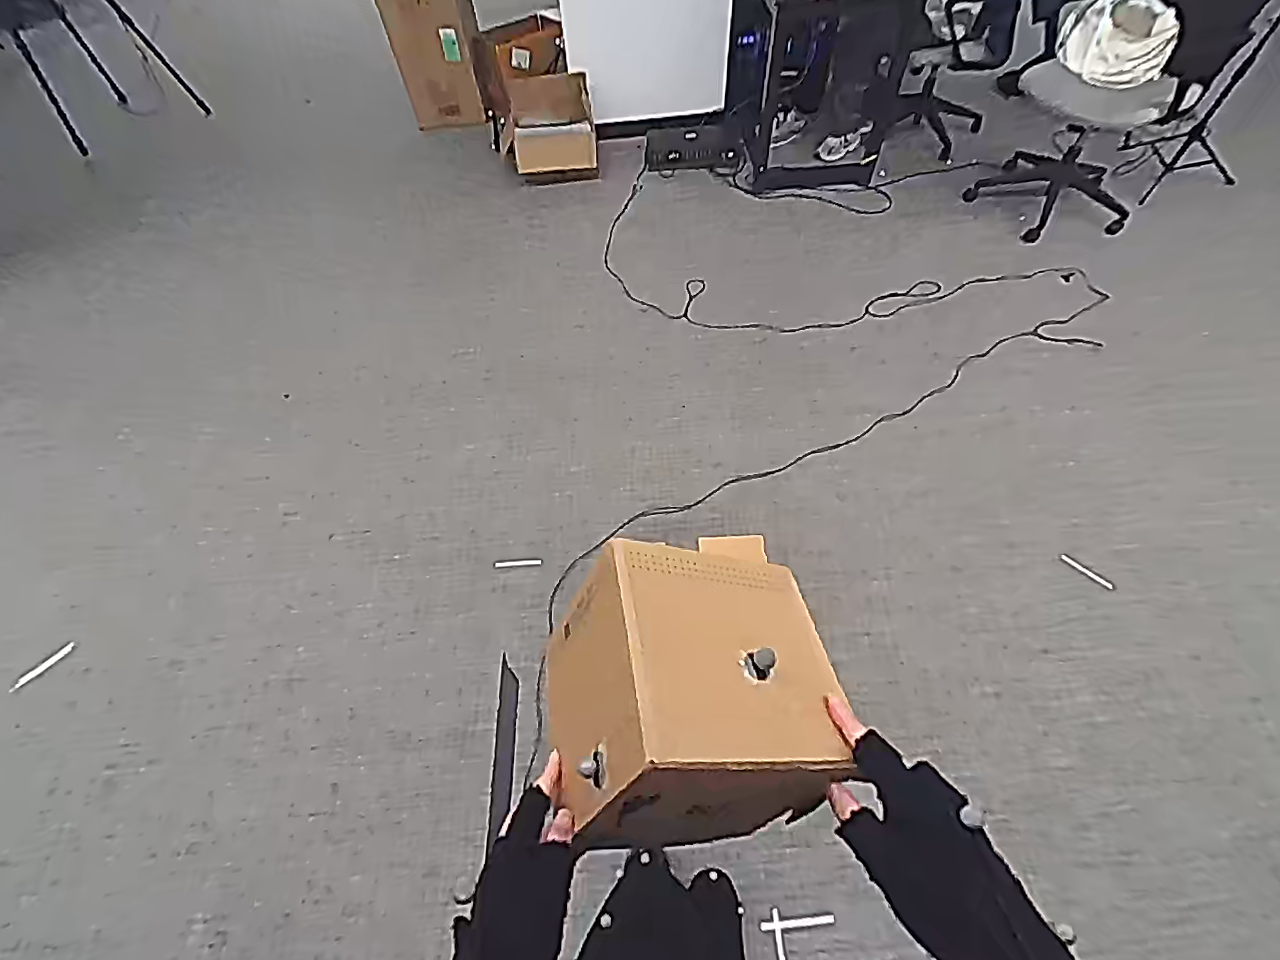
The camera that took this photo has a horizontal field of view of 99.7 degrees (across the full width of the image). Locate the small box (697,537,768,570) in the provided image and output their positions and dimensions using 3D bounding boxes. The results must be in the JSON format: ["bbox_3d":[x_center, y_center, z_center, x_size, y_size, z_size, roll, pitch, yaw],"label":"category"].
[{"bbox_3d":[0.245,0.268,1.460,0.179,0.176,0.168,-2,56,1],"label":"small box"}]

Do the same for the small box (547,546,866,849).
[{"bbox_3d":[0.034,0.172,0.440,0.179,0.168,0.176,12,39,-24],"label":"small box"}]
